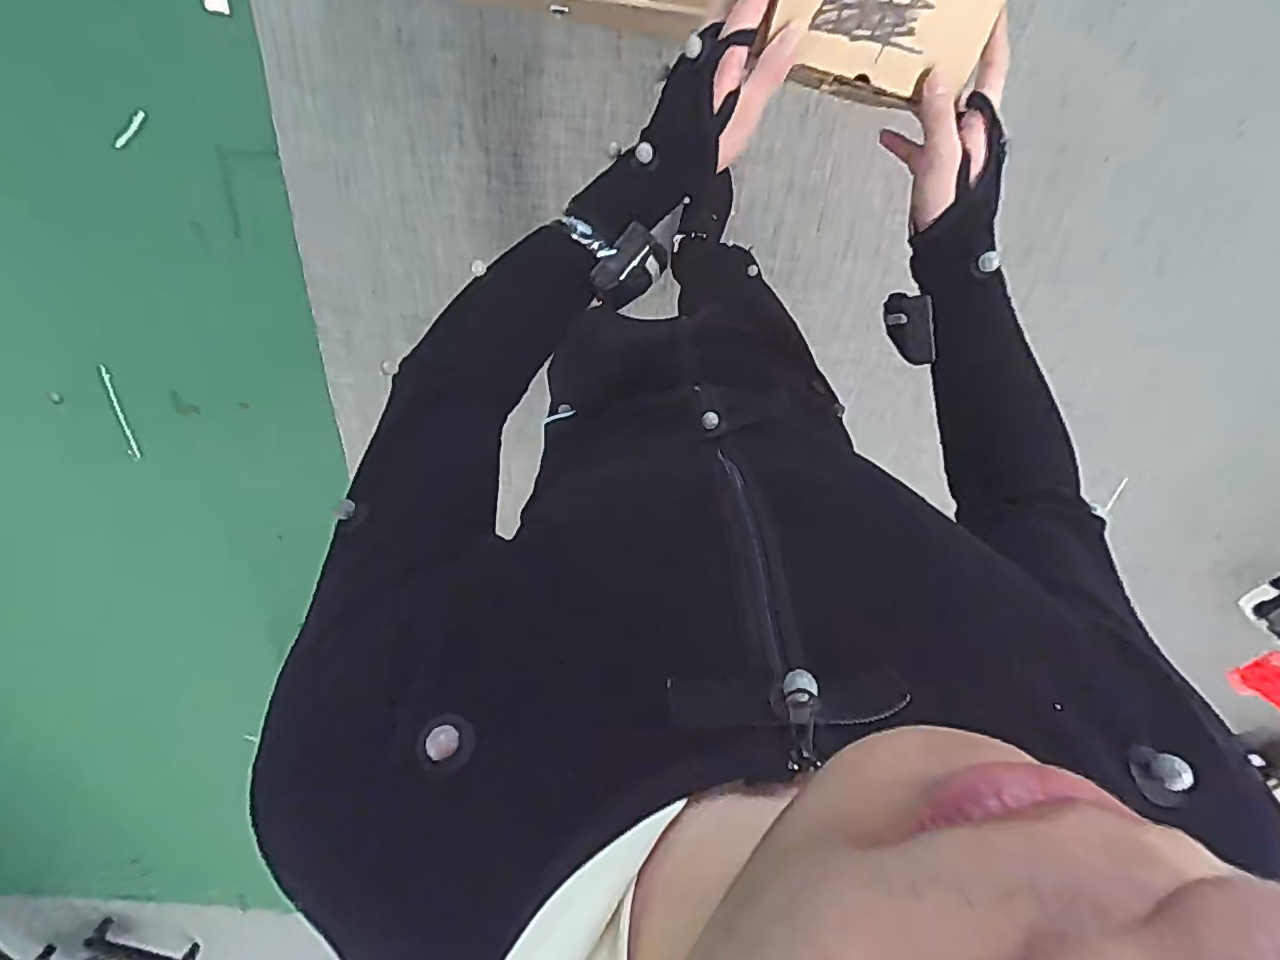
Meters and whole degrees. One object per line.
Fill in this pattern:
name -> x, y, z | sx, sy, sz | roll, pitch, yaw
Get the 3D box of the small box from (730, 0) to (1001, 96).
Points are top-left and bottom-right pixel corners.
small box -> 0.180, -0.426, 0.419 | 0.168, 0.176, 0.179 | 8, 126, -12

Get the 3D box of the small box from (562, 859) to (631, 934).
small box -> -0.117, 1.197, 1.522 | 0.179, 0.176, 0.168 | 1, 121, 0

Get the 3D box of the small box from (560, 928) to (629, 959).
small box -> -0.115, 1.280, 1.380 | 0.179, 0.176, 0.168 | 1, 119, 0
